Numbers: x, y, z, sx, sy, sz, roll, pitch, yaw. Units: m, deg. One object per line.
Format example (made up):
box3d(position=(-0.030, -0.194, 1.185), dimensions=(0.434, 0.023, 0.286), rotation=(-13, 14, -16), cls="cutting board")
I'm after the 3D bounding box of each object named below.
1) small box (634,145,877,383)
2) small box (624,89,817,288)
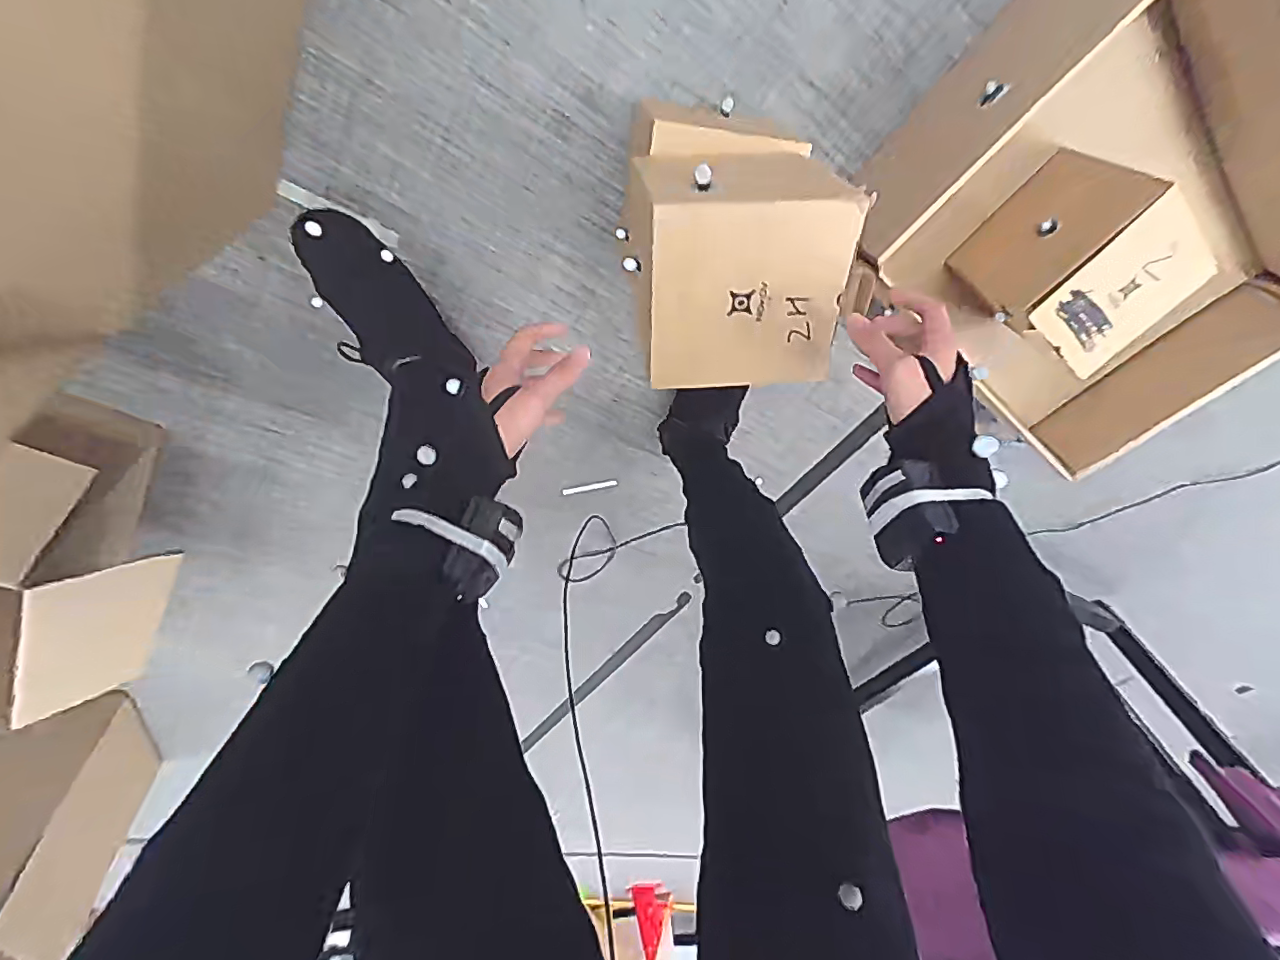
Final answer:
box3d(position=(0.087, -0.209, 0.519), dimensions=(0.179, 0.176, 0.168), rotation=(-4, 132, -5), cls="small box")
box3d(position=(0.076, -0.330, 0.632), dimensions=(0.168, 0.176, 0.179), rotation=(3, 131, -11), cls="small box")
